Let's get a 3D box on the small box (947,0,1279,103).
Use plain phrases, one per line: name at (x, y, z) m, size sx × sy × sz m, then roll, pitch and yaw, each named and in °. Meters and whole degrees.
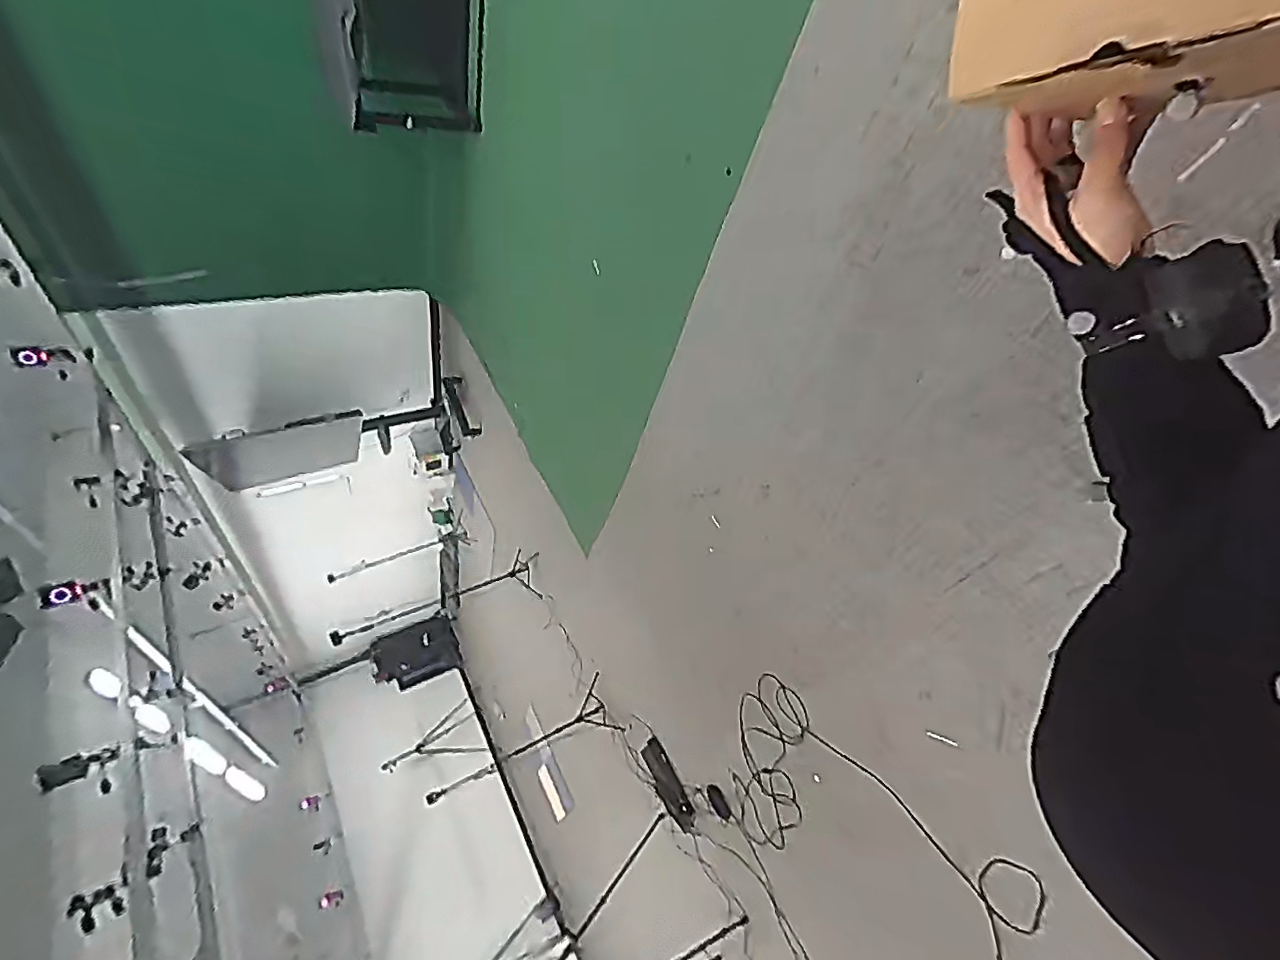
small box at (0.293, -0.300, 0.262) m, size 0.168 × 0.176 × 0.179 m, roll 37°, pitch 135°, yaw 53°
